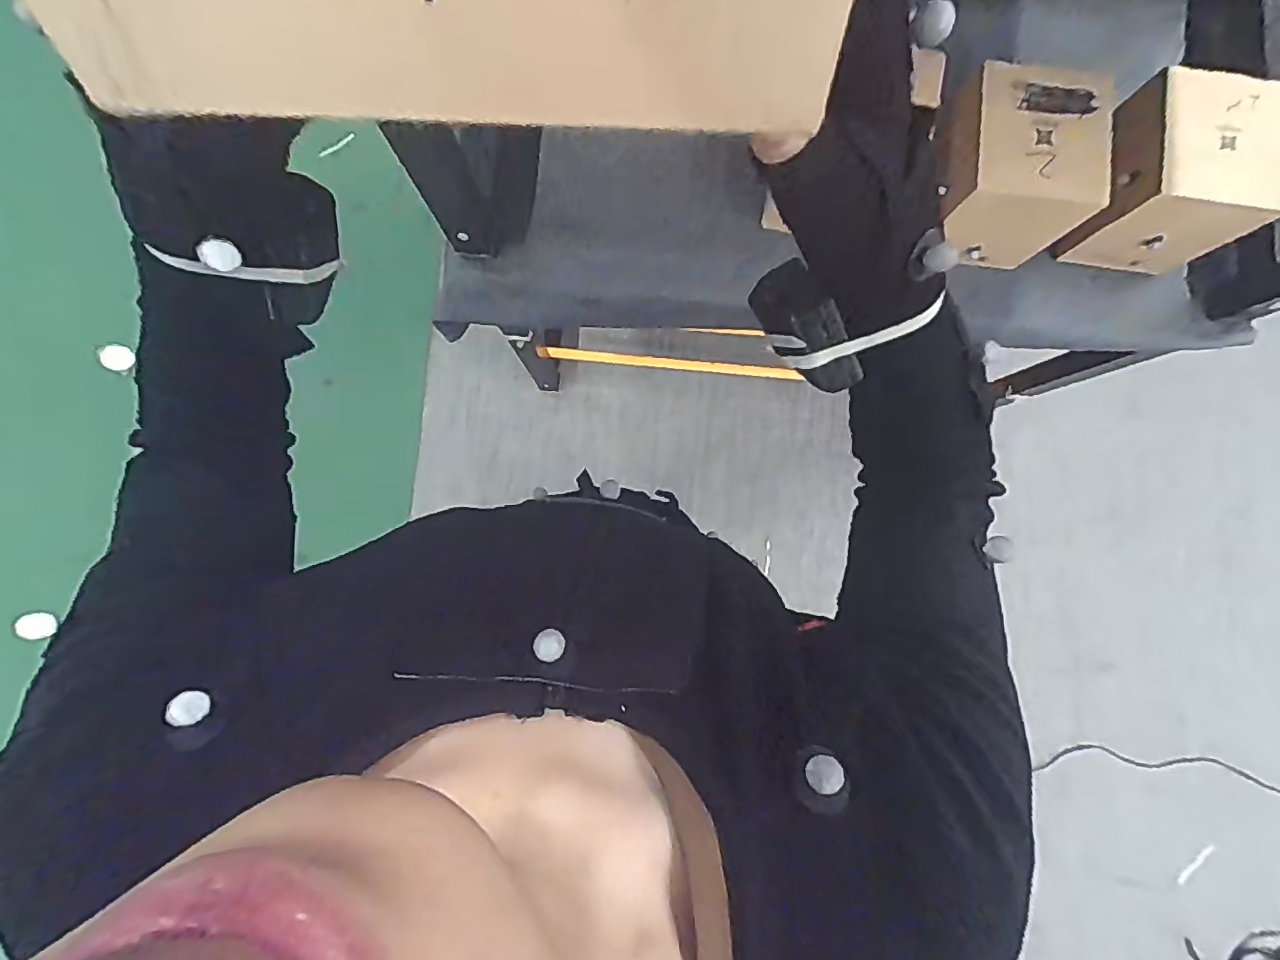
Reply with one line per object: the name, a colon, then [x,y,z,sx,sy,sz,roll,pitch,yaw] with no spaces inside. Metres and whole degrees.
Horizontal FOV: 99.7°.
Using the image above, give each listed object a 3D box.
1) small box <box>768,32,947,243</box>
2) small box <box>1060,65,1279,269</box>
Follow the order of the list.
small box: [0.284,-0.458,0.744,0.168,0.176,0.179,11,84,0]
small box: [0.724,-0.416,0.748,0.168,0.176,0.179,7,84,-1]
